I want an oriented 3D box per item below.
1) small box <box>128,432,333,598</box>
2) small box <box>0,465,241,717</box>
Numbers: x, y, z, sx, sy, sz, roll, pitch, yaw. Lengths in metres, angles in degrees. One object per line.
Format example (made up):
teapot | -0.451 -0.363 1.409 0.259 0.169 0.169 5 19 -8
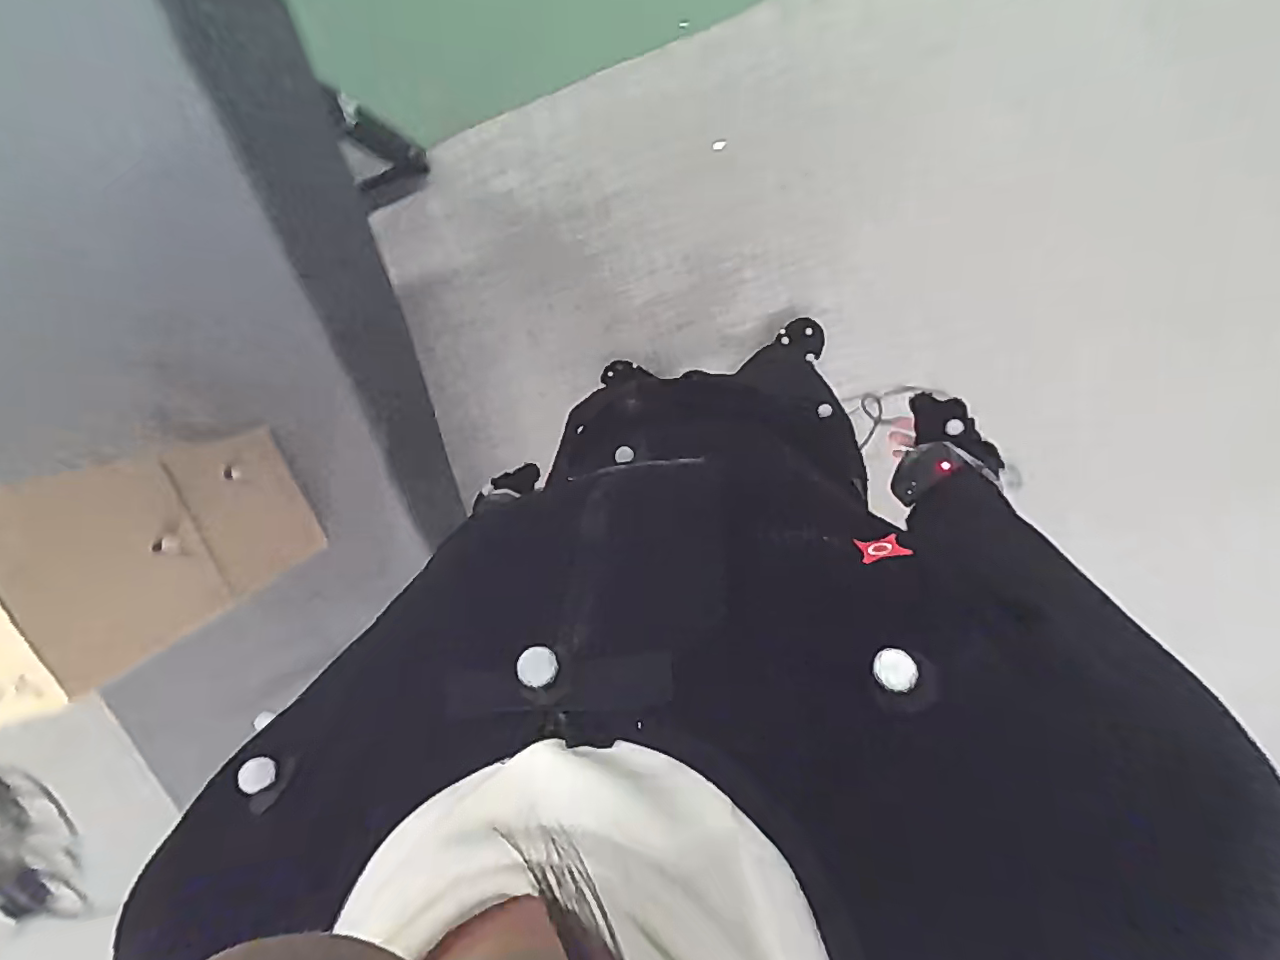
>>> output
small box | -0.531 0.051 0.668 0.168 0.176 0.179 -19 105 11
small box | -0.542 0.095 0.511 0.168 0.176 0.179 -17 103 10
